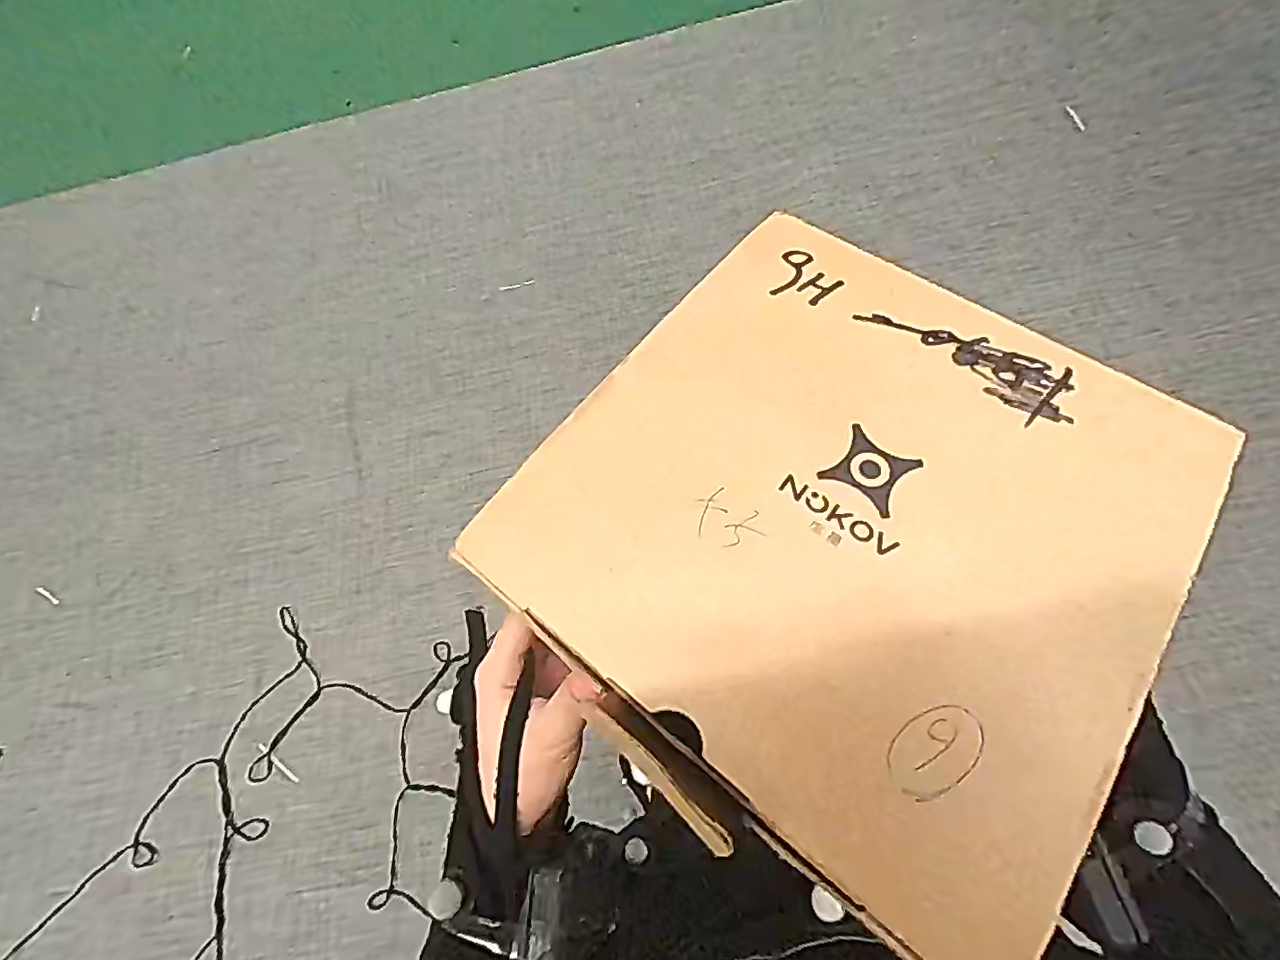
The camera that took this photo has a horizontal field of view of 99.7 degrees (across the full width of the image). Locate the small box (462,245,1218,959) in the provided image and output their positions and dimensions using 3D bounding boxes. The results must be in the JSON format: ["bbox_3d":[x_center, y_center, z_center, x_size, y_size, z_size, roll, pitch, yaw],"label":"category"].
[{"bbox_3d":[0.064,0.047,0.237,0.168,0.176,0.179,36,72,17],"label":"small box"}]
